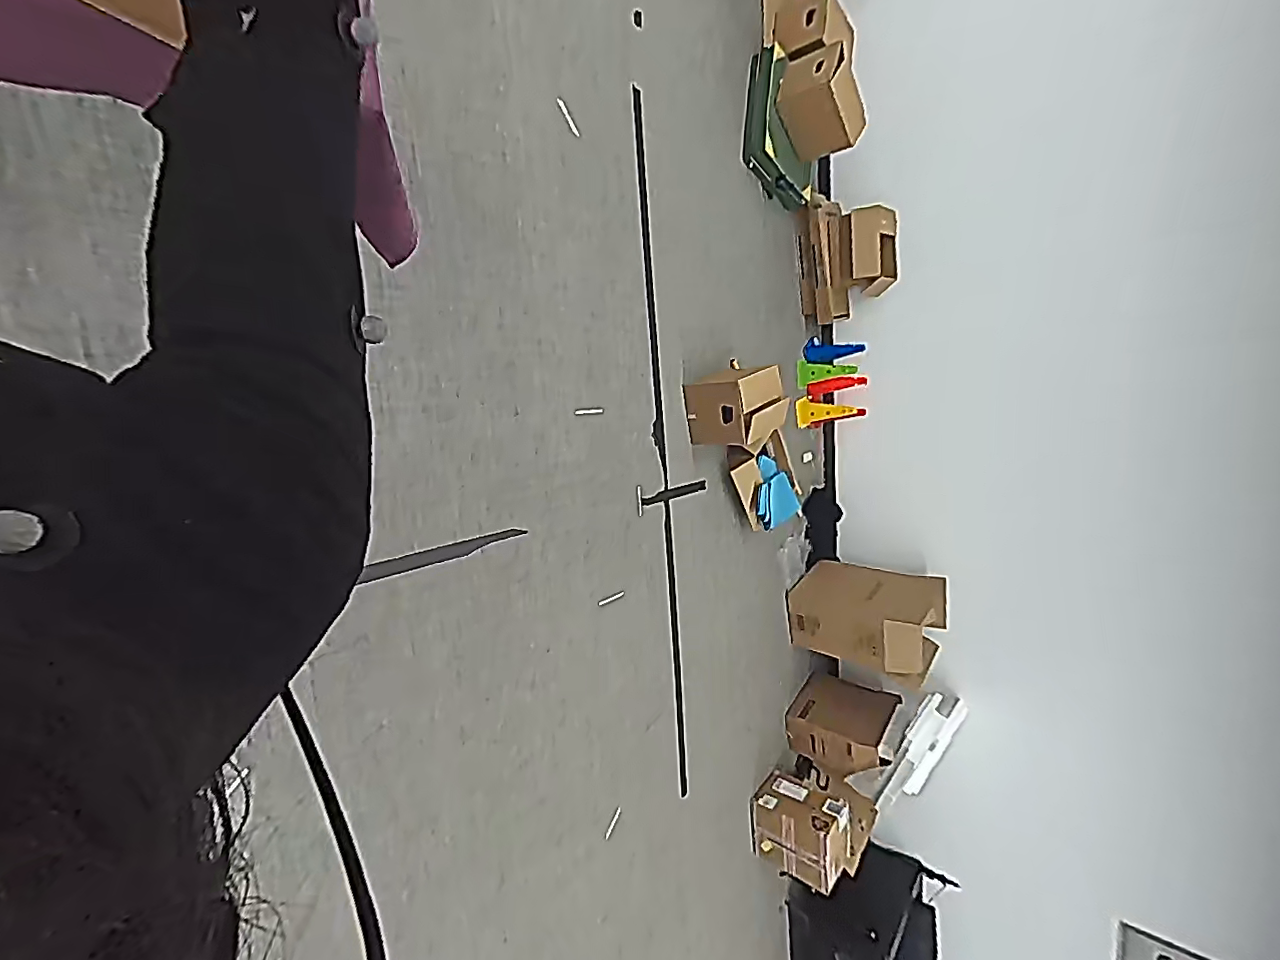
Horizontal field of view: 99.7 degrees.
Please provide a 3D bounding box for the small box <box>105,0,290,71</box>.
[{"bbox_3d":[-0.478,-0.584,0.562,0.168,0.176,0.179,5,87,-51],"label":"small box"}]
